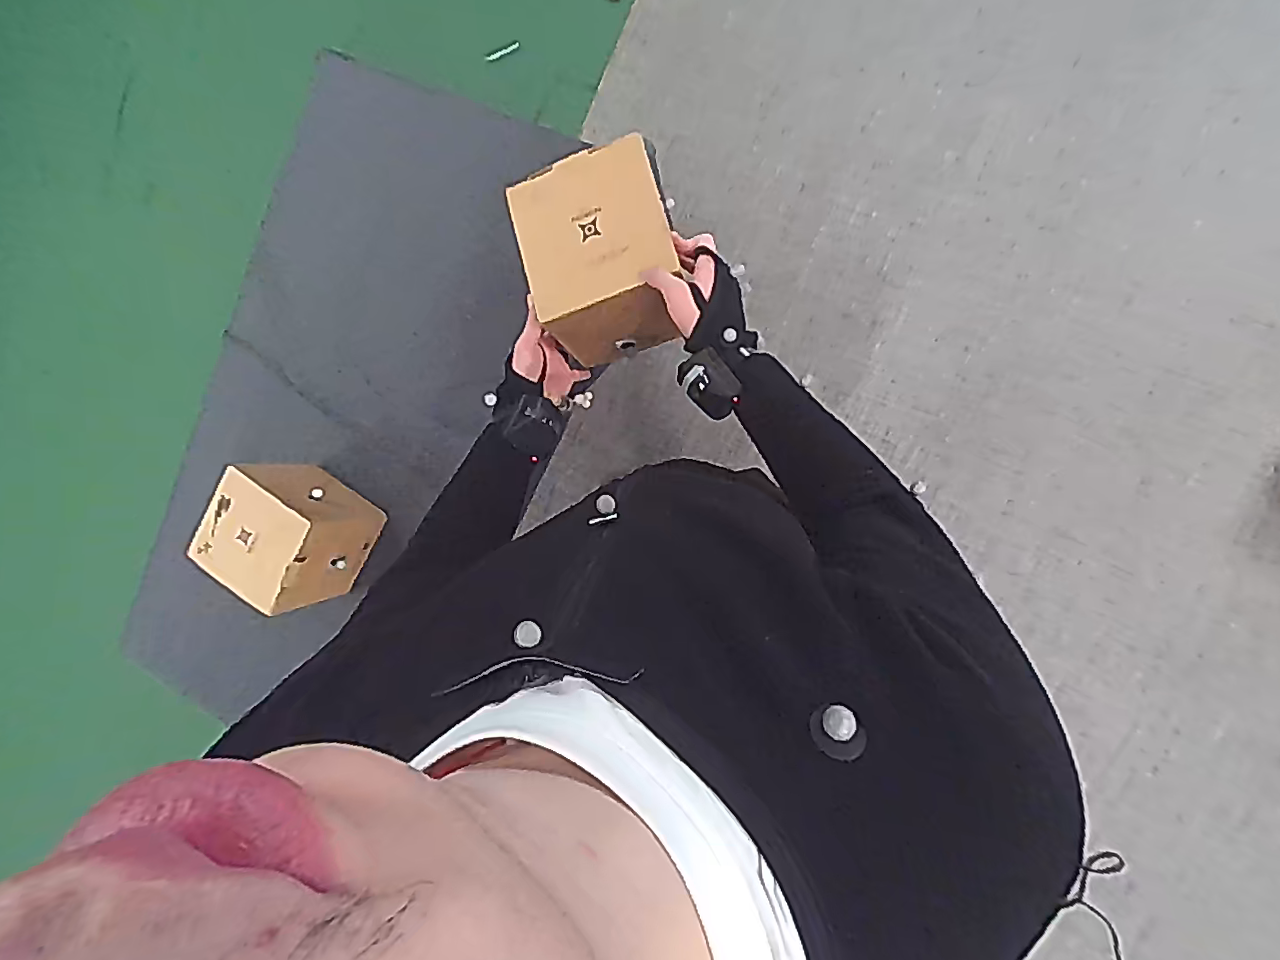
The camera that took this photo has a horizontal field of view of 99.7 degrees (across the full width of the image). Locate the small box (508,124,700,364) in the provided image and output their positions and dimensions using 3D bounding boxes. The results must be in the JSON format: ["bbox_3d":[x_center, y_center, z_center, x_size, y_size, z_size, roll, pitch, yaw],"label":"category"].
[{"bbox_3d":[-0.035,-0.265,0.650,0.168,0.176,0.179,-16,79,12],"label":"small box"}]

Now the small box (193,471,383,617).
[{"bbox_3d":[-0.564,0.091,0.887,0.179,0.176,0.168,28,98,10],"label":"small box"}]
